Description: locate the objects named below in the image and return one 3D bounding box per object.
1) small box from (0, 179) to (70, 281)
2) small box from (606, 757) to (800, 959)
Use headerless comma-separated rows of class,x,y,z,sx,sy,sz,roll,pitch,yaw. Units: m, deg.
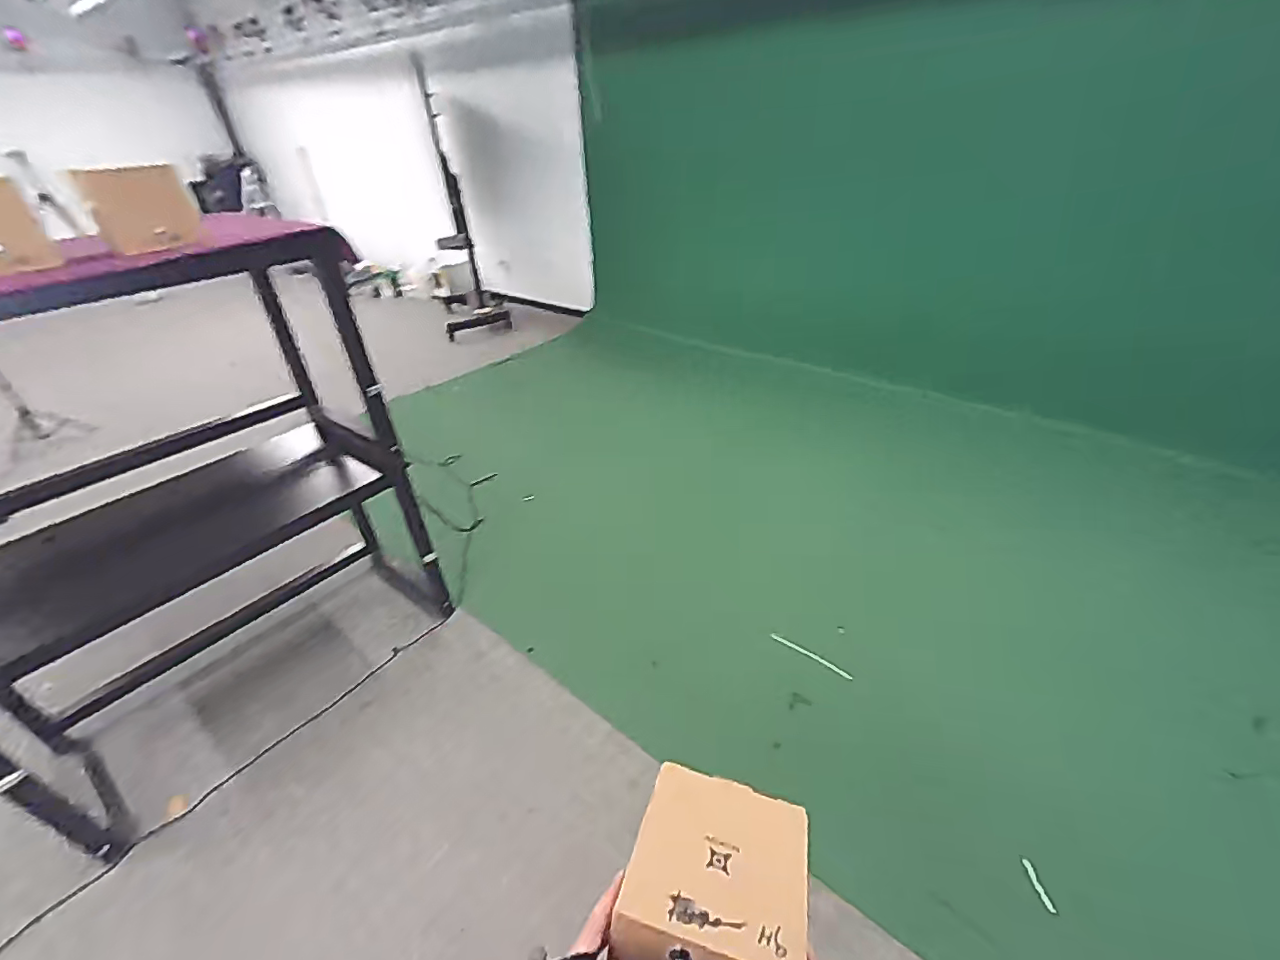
small box,-1.301,-0.495,1.075,0.179,0.176,0.168,22,42,33
small box,0.066,0.440,0.564,0.168,0.176,0.179,11,18,14
